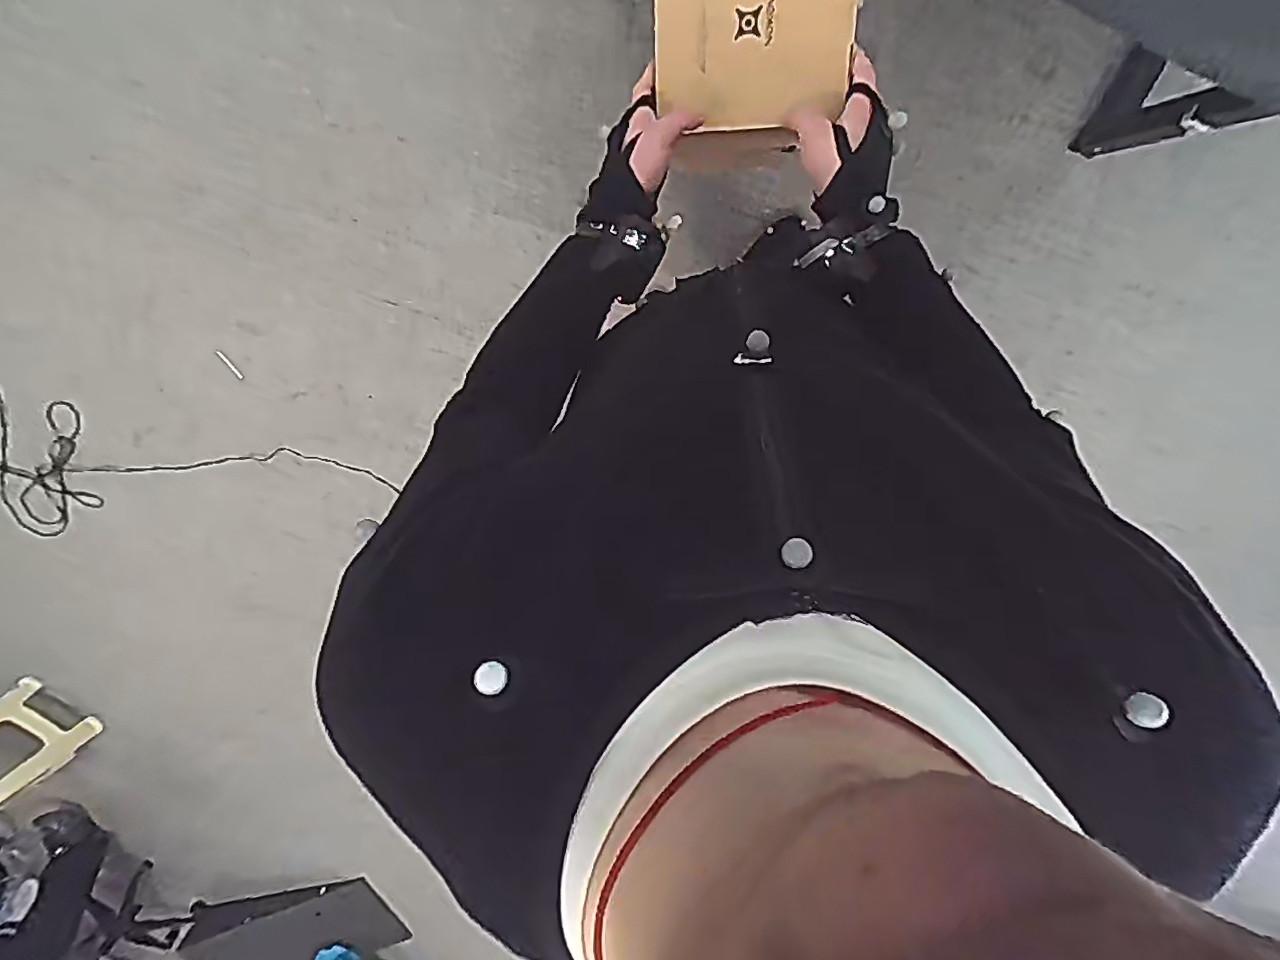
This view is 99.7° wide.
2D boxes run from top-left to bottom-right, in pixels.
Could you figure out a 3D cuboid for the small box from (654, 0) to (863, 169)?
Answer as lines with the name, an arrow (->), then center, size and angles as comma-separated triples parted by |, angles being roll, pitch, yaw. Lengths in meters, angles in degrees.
small box -> 0.113, -0.420, 0.536 | 0.179, 0.176, 0.168 | 4, 108, 10
